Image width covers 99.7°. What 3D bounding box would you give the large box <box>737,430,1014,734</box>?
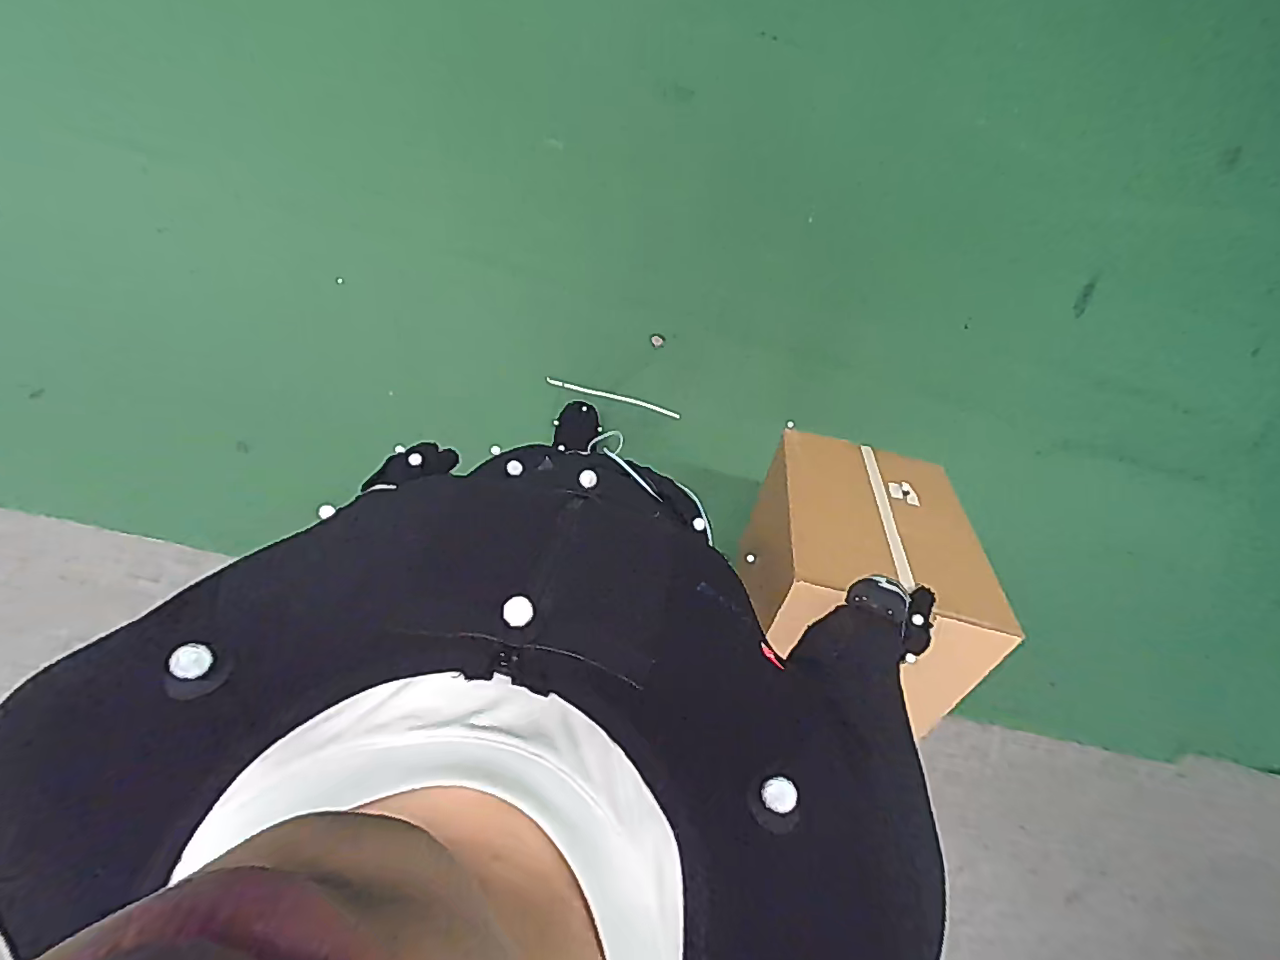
[{"bbox_3d":[0.365,0.169,0.977,0.320,0.408,0.320,15,127,1],"label":"large box"}]
